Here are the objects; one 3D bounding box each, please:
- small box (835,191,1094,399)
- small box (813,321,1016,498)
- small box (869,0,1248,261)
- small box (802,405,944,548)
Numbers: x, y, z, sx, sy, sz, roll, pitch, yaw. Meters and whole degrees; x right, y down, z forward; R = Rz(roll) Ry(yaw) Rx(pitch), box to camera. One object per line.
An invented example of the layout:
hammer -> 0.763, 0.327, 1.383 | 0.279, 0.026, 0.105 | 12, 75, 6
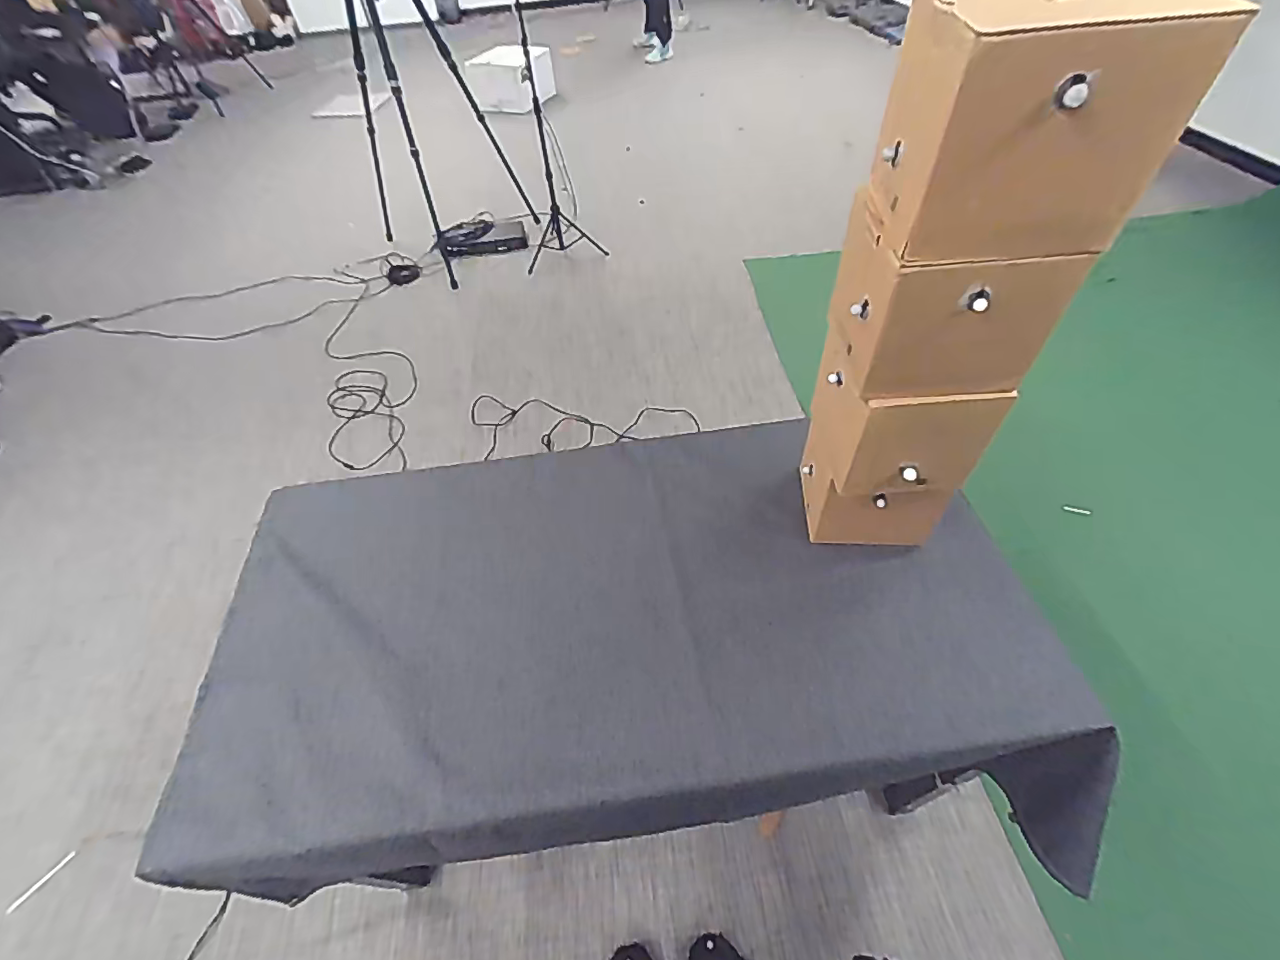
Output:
small box -> 0.324, -0.202, 0.593 | 0.179, 0.176, 0.168 | -2, 51, 4
small box -> 0.339, -0.096, 0.716 | 0.168, 0.176, 0.179 | -4, 51, 3
small box -> 0.322, -0.308, 0.469 | 0.179, 0.176, 0.168 | 0, 51, 6
small box -> 0.358, -0.006, 0.852 | 0.179, 0.176, 0.168 | 1, 51, 6
